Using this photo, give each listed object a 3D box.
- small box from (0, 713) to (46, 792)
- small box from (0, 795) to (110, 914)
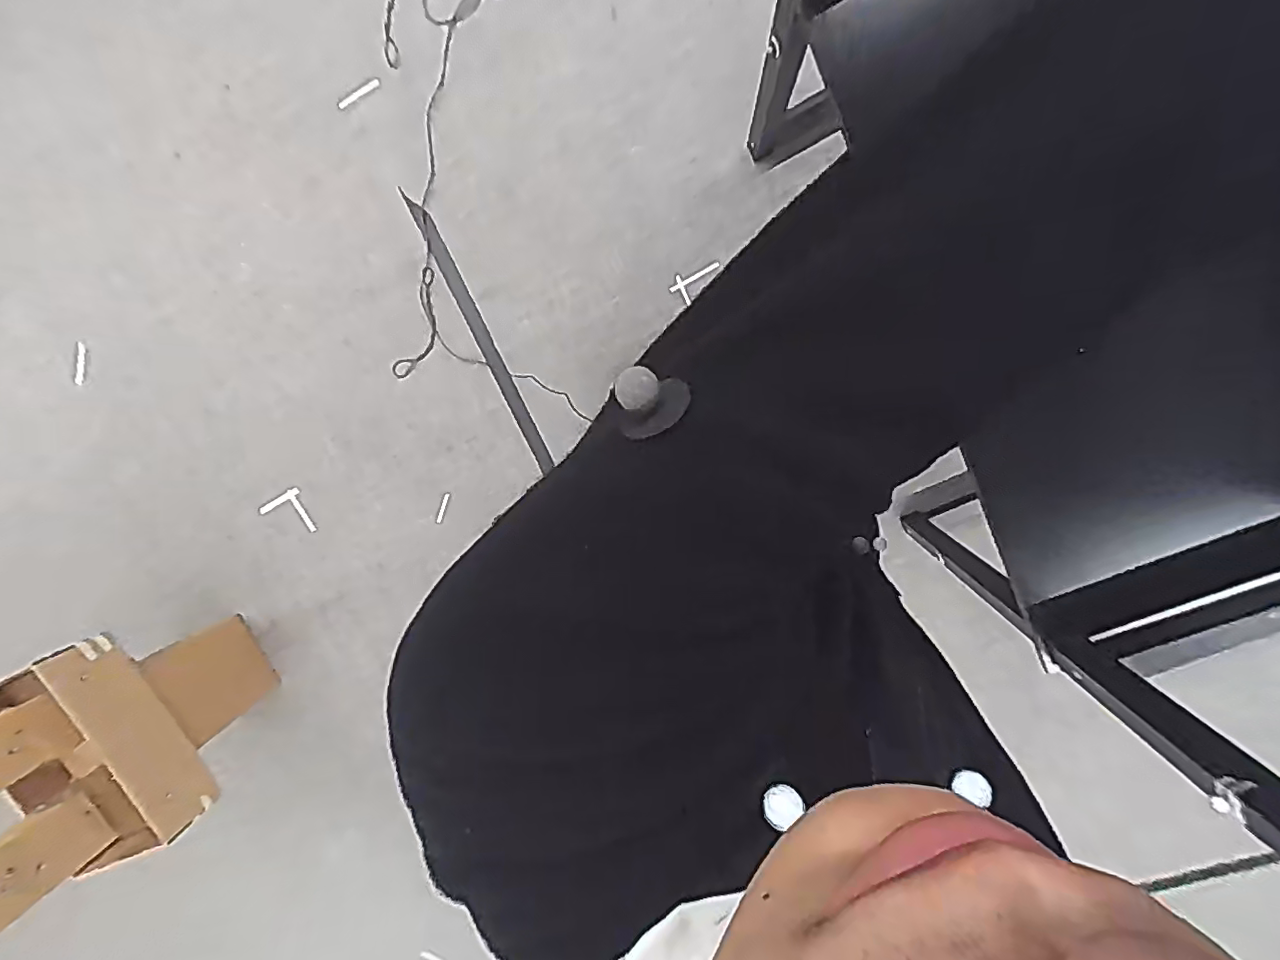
[{"bbox_3d":[-1.661,0.719,1.338,0.179,0.176,0.168,-27,99,11],"label":"small box"},{"bbox_3d":[-1.538,0.952,1.382,0.179,0.176,0.168,-24,100,12],"label":"small box"}]
